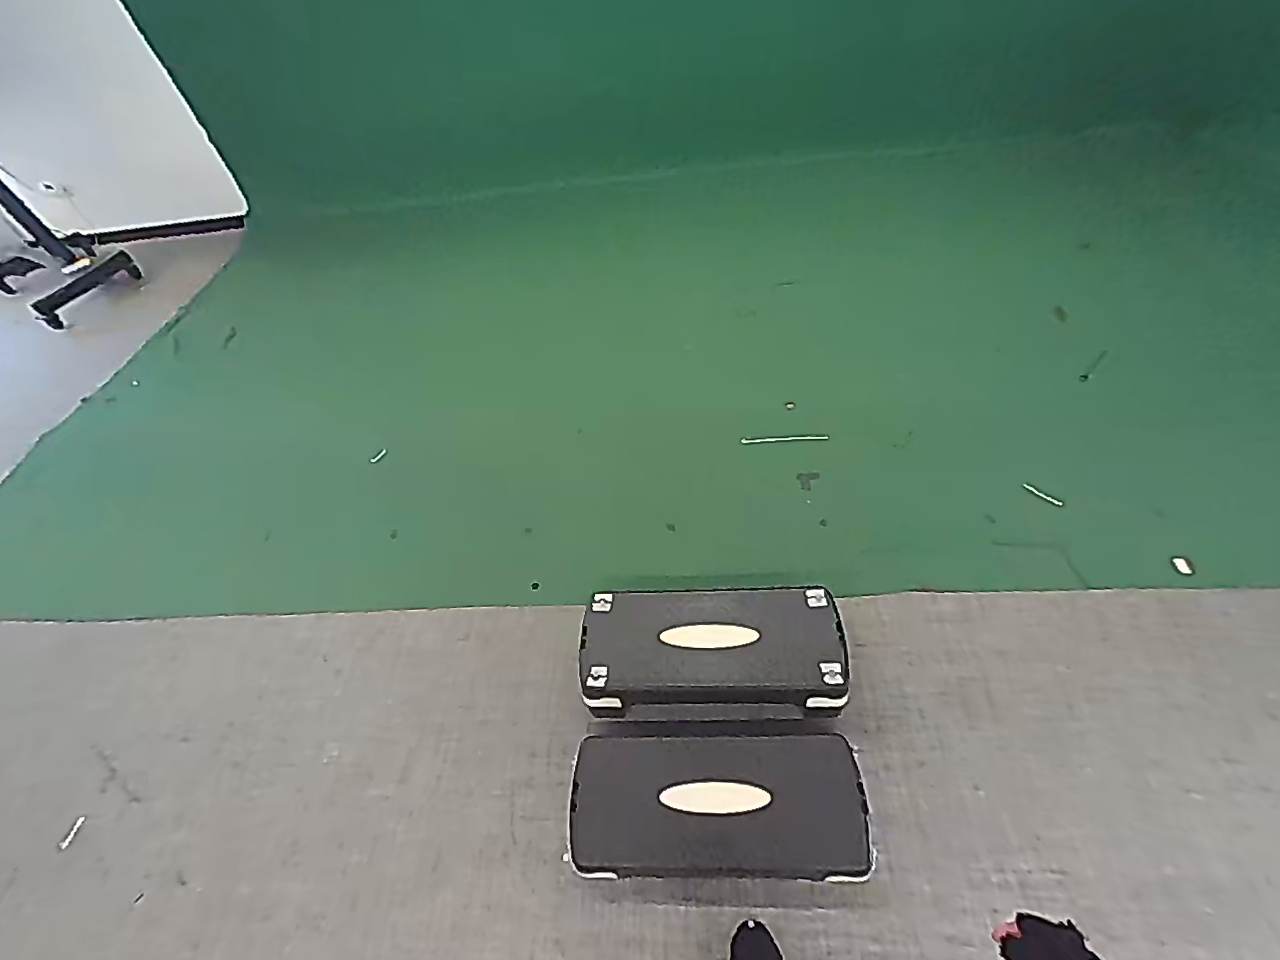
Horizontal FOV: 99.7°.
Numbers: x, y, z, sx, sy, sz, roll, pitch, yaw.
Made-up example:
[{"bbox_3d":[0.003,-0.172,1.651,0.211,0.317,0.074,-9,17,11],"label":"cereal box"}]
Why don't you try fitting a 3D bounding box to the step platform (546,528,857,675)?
[{"bbox_3d":[0.136,0.295,1.288,0.684,0.204,0.286,-4,50,6],"label":"step platform"}]
